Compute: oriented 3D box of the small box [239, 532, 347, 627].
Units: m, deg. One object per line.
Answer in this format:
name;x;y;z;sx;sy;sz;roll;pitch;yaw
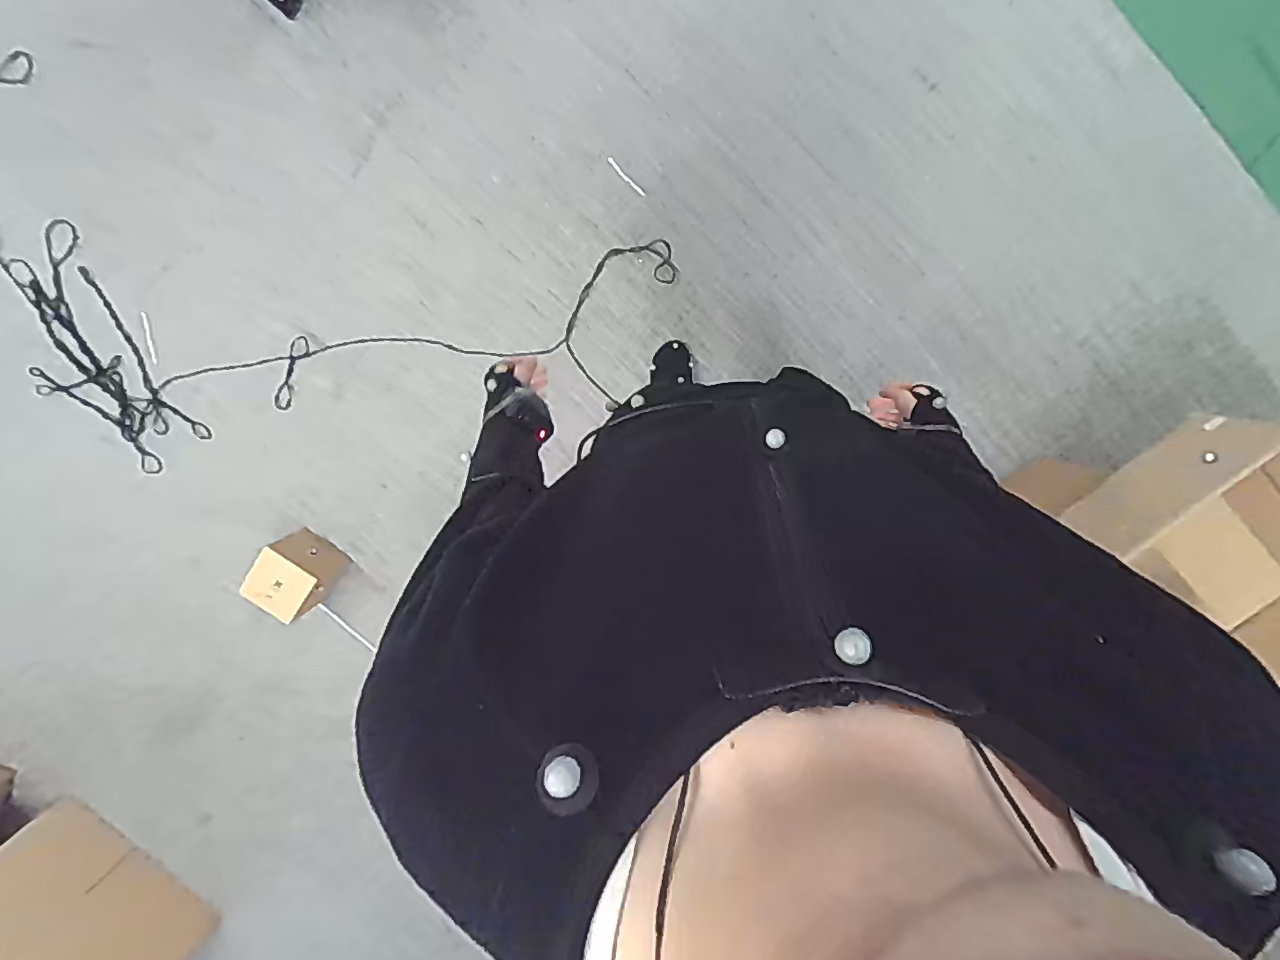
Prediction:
small box;-0.981;0.277;1.550;0.168;0.176;0.179;37;102;-5
